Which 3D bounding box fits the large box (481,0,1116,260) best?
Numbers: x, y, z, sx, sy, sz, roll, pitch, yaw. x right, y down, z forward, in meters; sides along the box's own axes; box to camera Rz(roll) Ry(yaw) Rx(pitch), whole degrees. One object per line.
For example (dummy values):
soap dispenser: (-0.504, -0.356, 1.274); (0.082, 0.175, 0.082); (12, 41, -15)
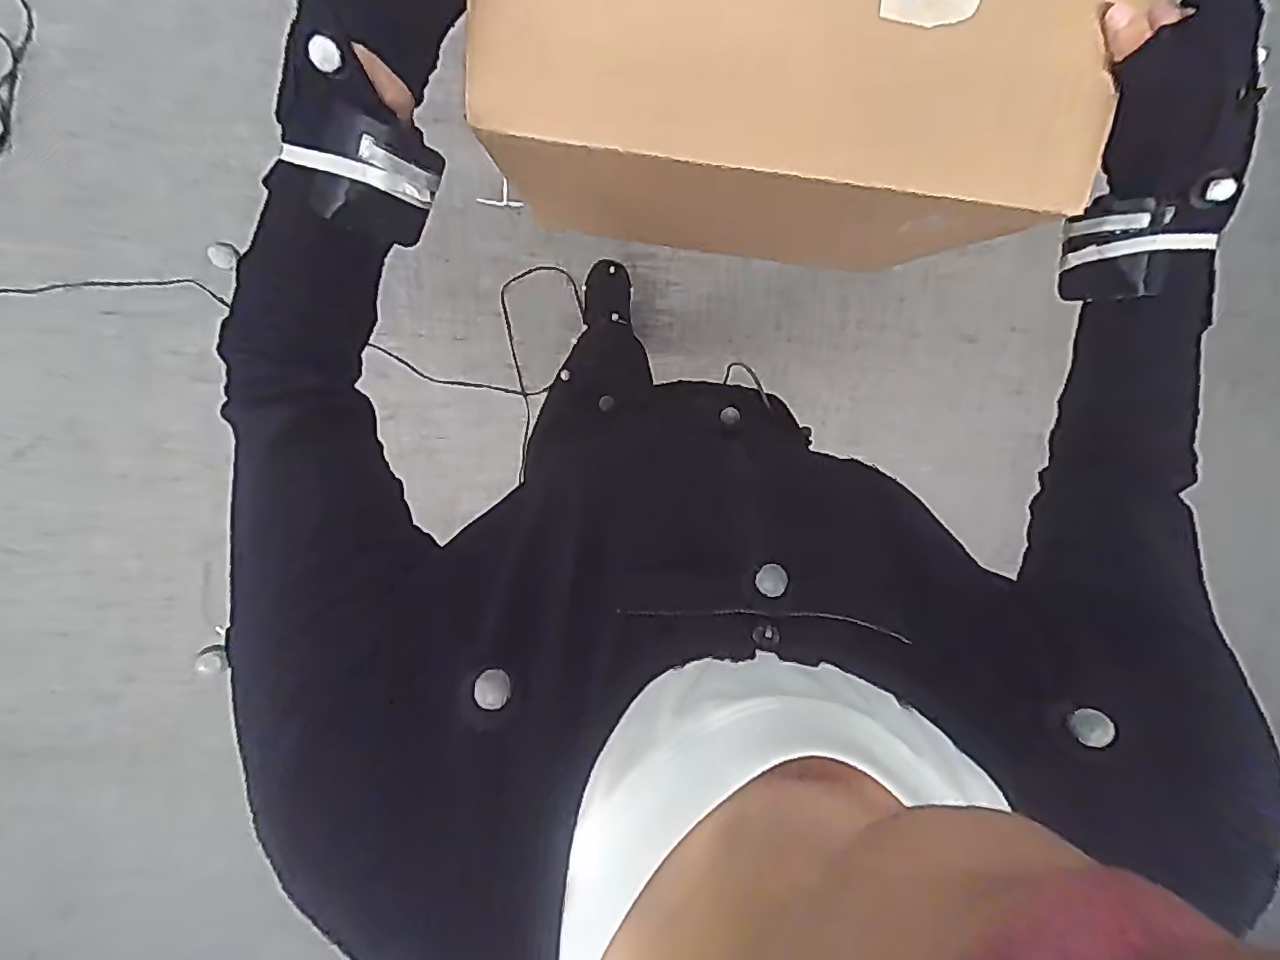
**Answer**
large box: (0.100, -0.392, 0.466); (0.408, 0.320, 0.320); (5, 105, -4)
